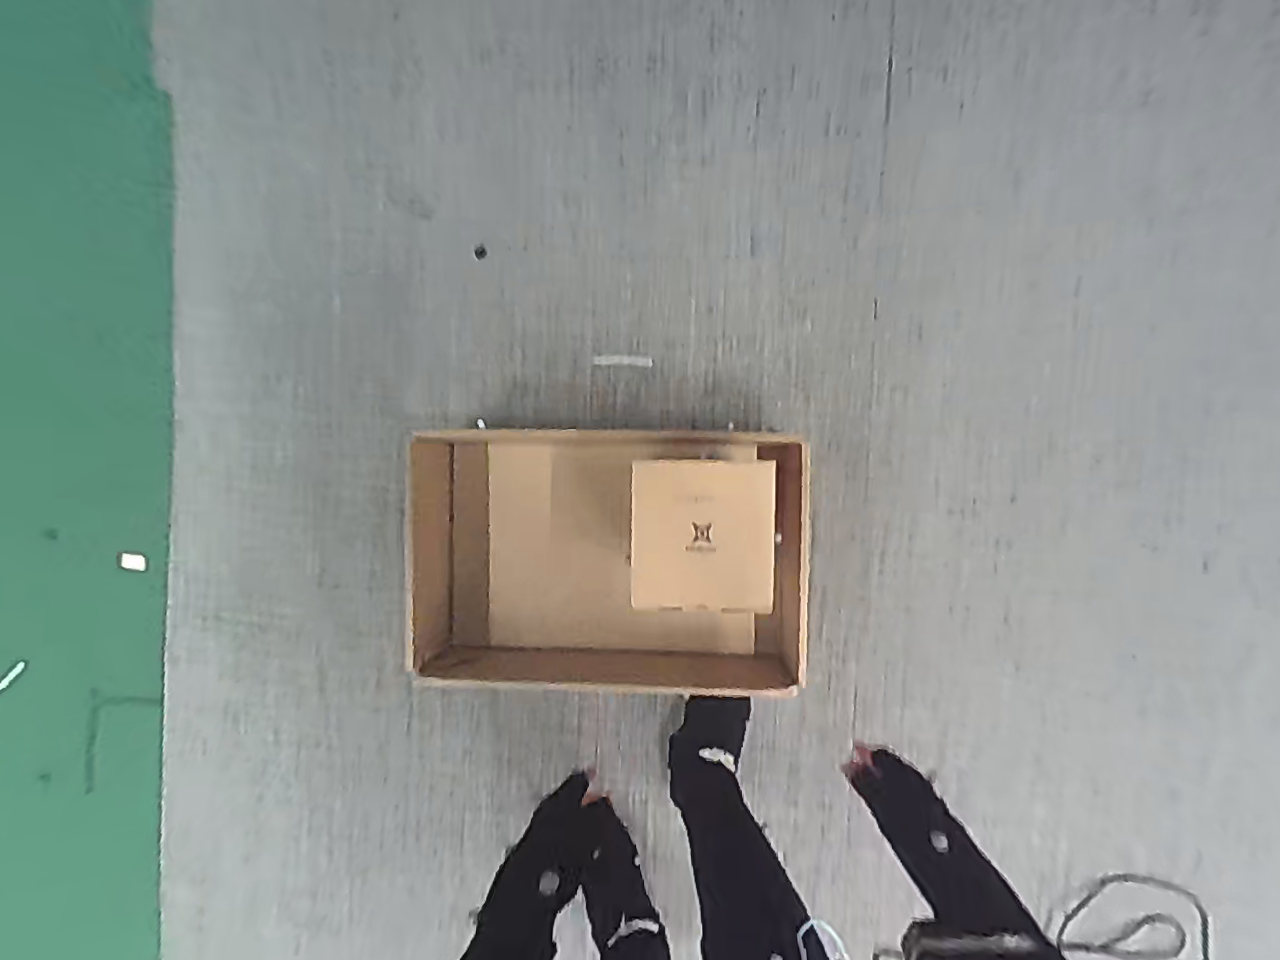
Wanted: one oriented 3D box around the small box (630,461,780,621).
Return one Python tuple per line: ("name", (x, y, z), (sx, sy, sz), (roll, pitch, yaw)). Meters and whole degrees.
("small box", (0.079, 0.066, 0.684), (0.168, 0.176, 0.179), (1, 91, 5))
